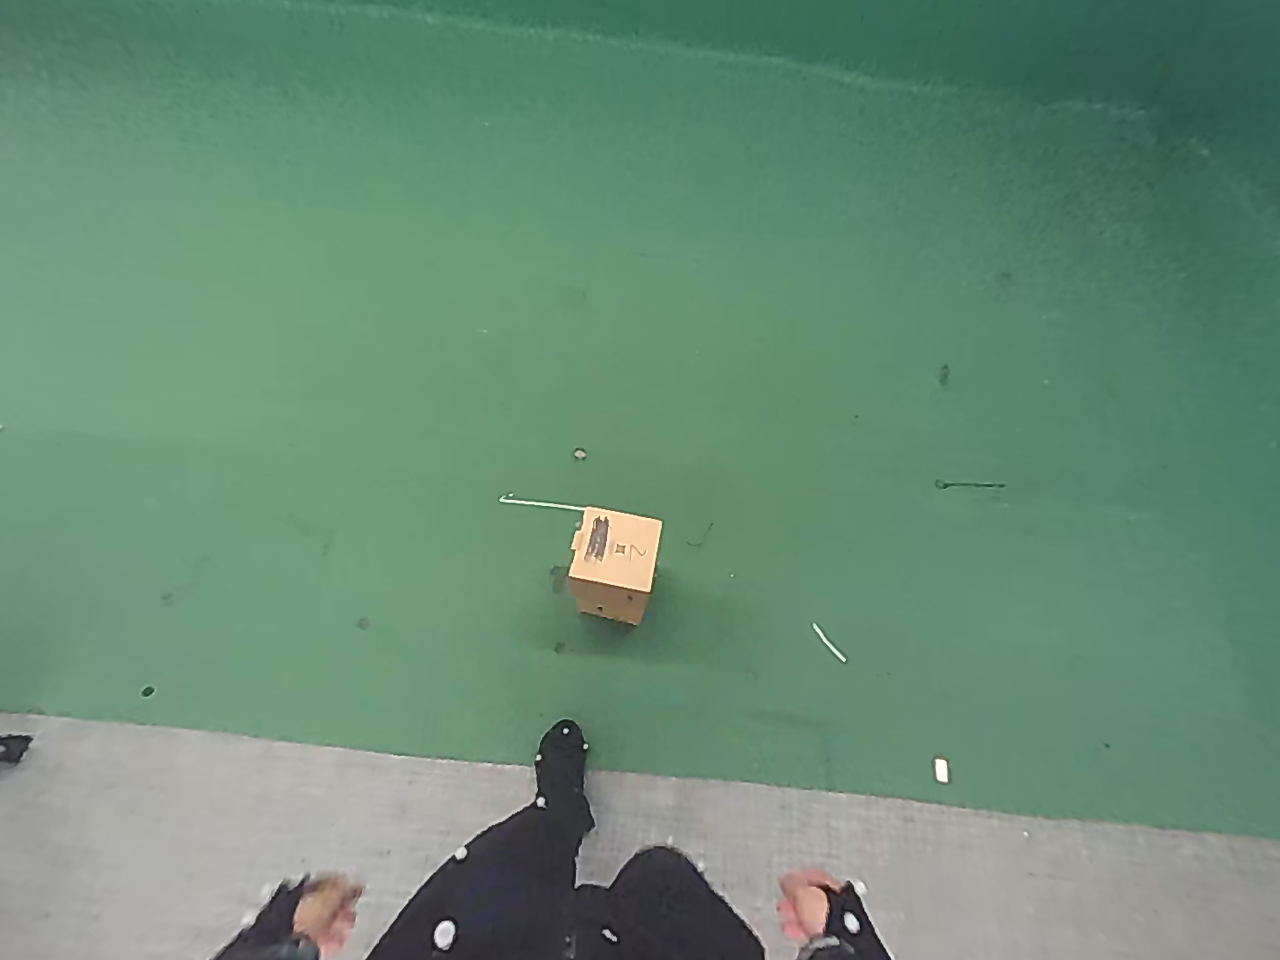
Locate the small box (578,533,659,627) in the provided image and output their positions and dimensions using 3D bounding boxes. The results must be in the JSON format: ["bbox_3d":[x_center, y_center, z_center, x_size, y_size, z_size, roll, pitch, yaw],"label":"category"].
[{"bbox_3d":[-0.053,0.260,1.368,0.168,0.176,0.179,13,63,2],"label":"small box"}]
